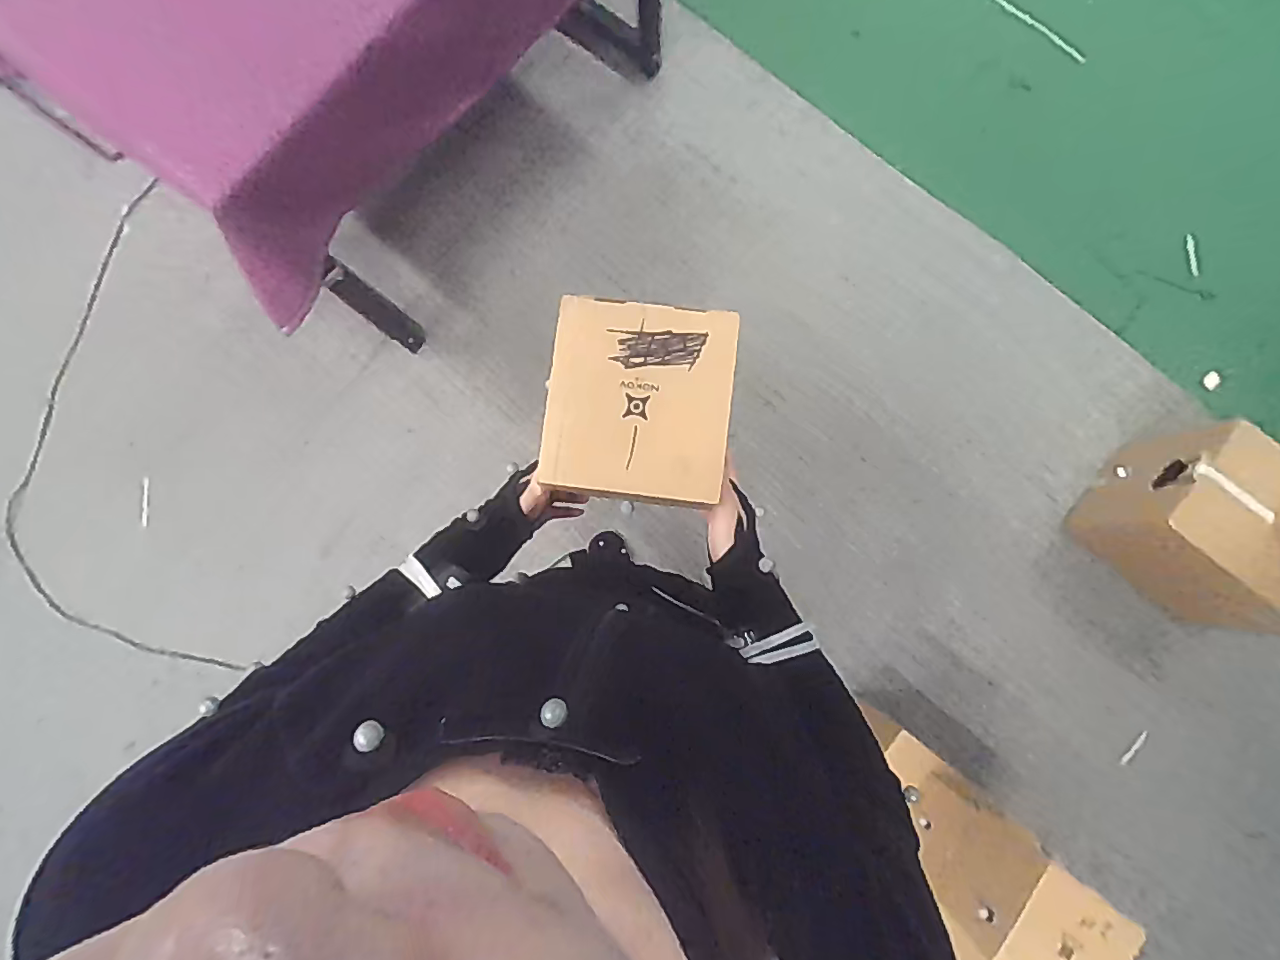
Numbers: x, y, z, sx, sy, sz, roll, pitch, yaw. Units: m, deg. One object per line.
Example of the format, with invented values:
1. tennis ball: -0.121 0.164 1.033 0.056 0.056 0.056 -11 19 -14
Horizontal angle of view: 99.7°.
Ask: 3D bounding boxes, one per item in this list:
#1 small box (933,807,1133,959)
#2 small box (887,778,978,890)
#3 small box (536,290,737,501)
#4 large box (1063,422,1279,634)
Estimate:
1. small box: 0.616 0.686 0.876 0.168 0.176 0.179 37 84 4
2. small box: 0.618 0.711 1.040 0.179 0.176 0.168 37 84 5
3. small box: 0.000 -0.075 0.566 0.168 0.176 0.179 7 87 3
4. large box: 1.397 0.123 1.334 0.408 0.320 0.320 41 85 4
